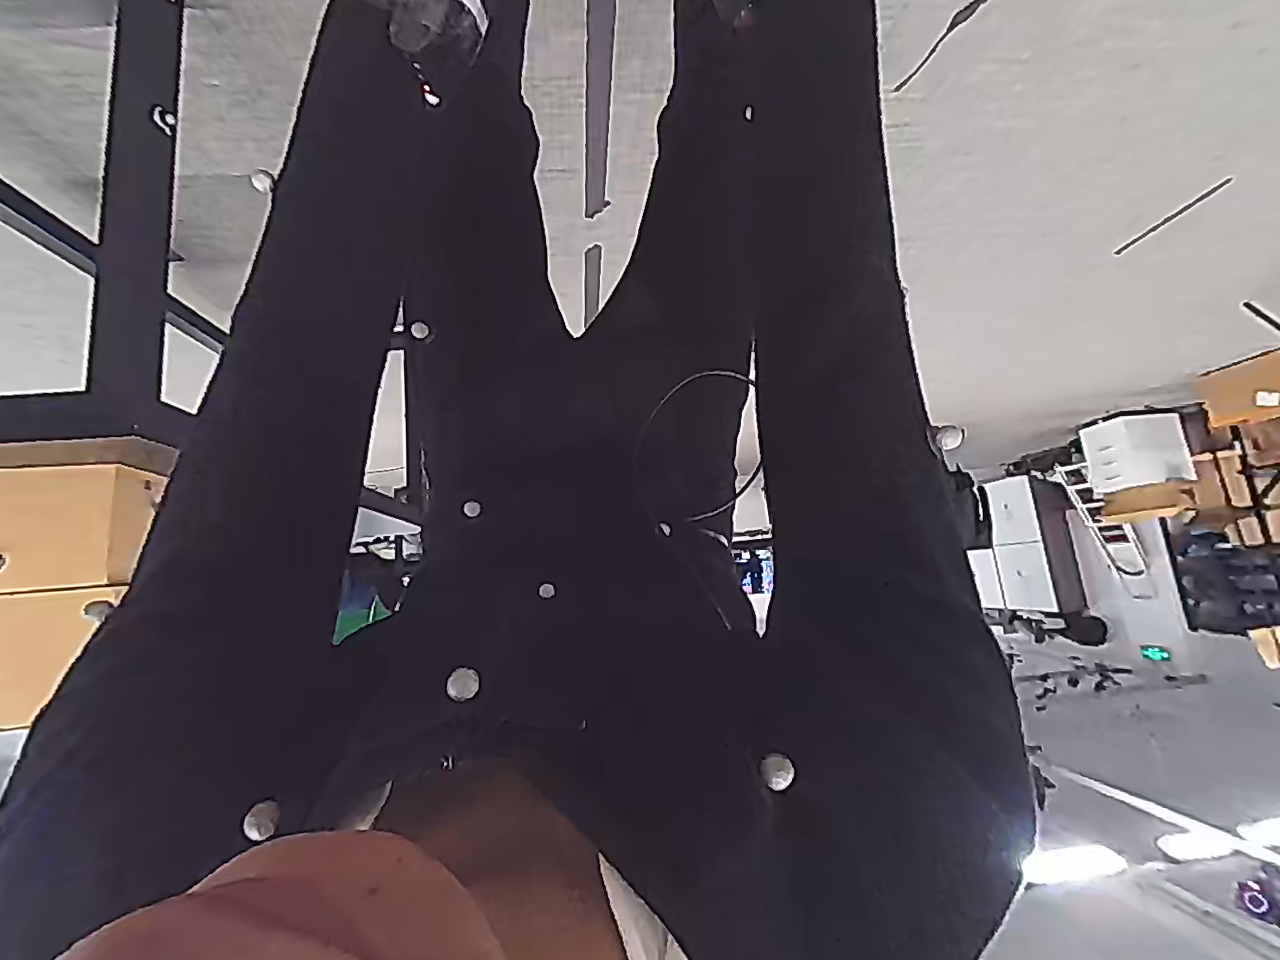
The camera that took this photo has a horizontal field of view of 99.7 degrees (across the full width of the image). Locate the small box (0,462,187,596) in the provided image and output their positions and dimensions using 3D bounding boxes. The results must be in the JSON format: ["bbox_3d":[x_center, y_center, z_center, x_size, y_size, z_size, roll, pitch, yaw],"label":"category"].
[{"bbox_3d":[-0.796,0.074,0.775,0.179,0.176,0.168,-3,171,-10],"label":"small box"}]
